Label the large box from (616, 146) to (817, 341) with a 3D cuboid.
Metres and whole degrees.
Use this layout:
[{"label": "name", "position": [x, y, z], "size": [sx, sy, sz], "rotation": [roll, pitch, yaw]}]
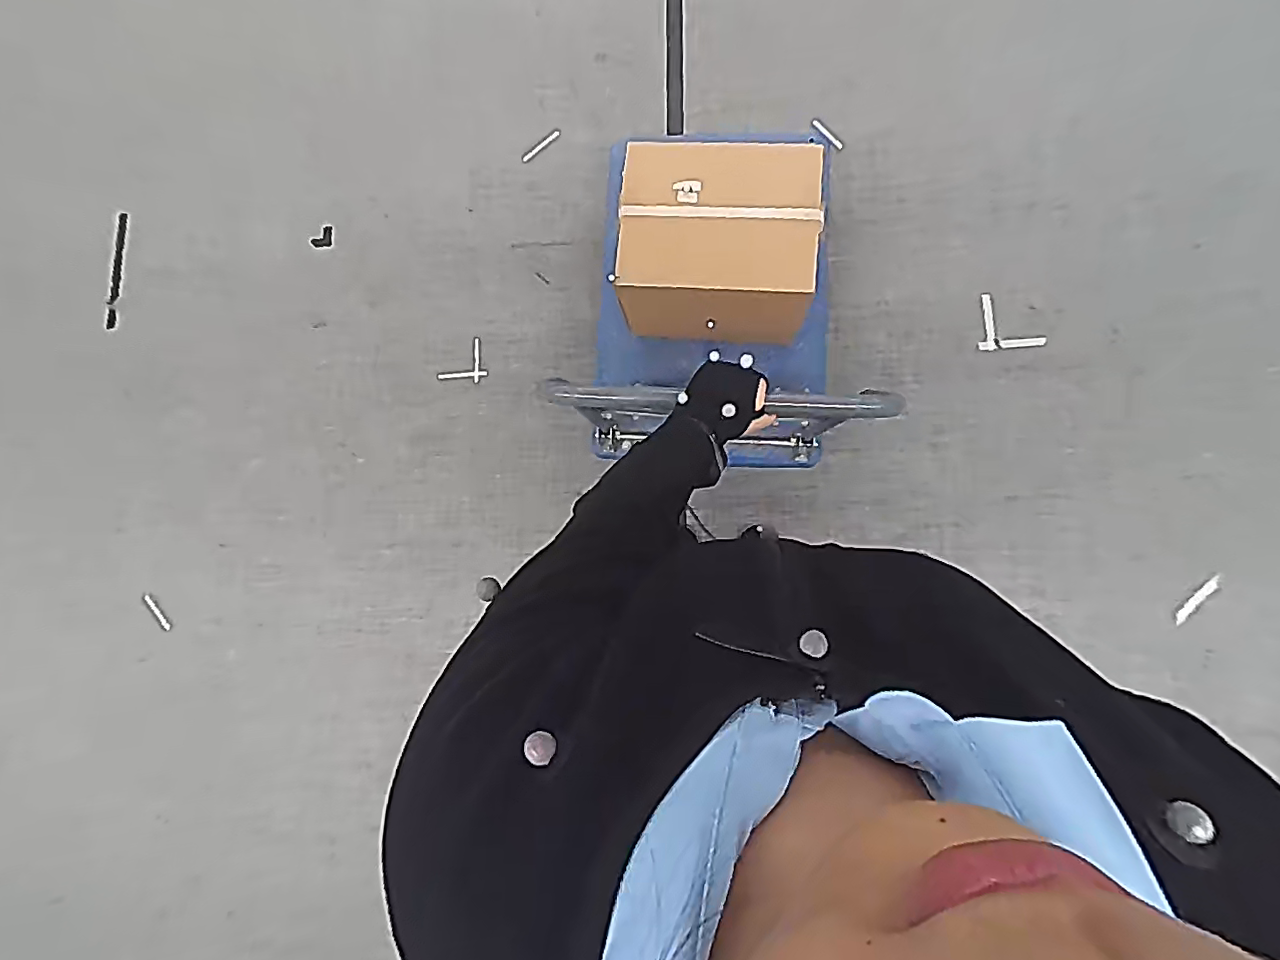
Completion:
[{"label": "large box", "position": [0.177, -0.525, 1.258], "size": [0.408, 0.320, 0.320], "rotation": [4, 84, 8]}]
